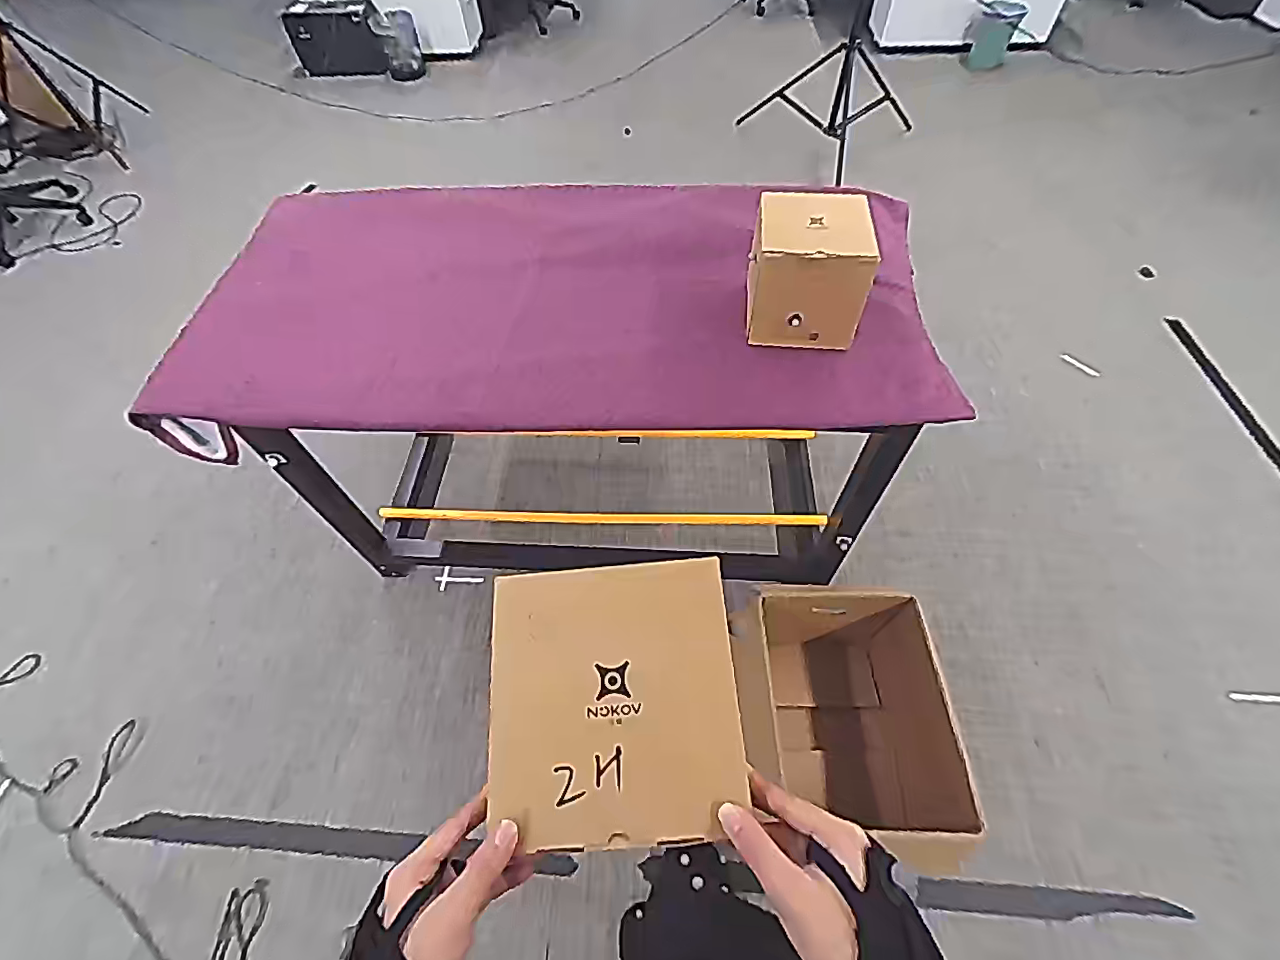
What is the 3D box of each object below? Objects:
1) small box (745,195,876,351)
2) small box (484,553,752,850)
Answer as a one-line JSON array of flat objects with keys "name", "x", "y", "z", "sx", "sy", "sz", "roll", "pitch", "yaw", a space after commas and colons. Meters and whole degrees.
[{"name": "small box", "x": 0.262, "y": -0.333, "z": 0.875, "sx": 0.168, "sy": 0.176, "sz": 0.179, "roll": 4, "pitch": 54, "yaw": 6}, {"name": "small box", "x": -0.013, "y": 0.171, "z": 0.430, "sx": 0.168, "sy": 0.176, "sz": 0.179, "roll": -7, "pitch": 66, "yaw": 3}]
